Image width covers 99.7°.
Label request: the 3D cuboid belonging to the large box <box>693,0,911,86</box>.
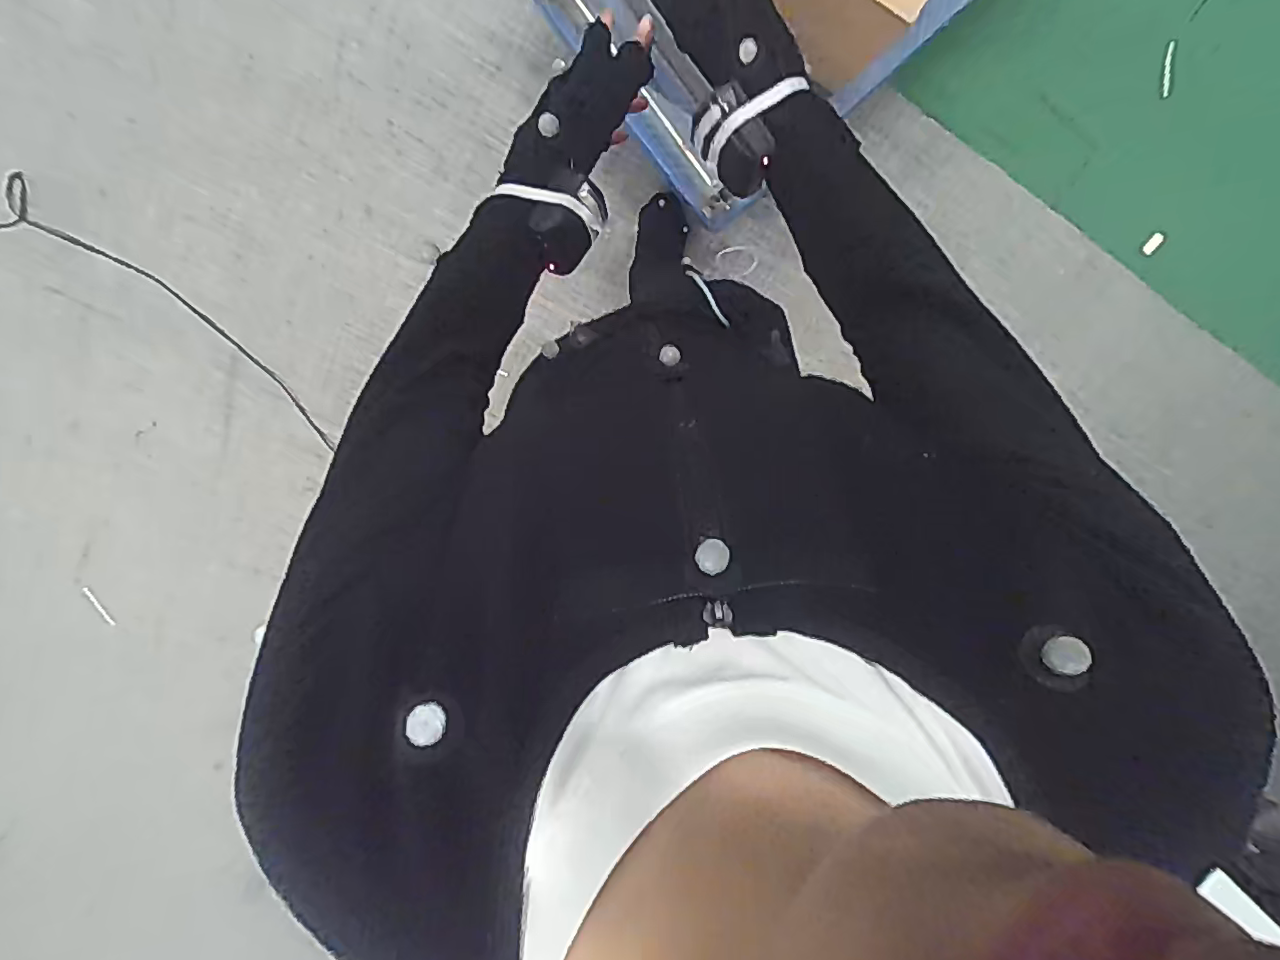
[{"bbox_3d":[0.265,-0.919,0.839,0.408,0.320,0.320,26,107,-9],"label":"large box"}]
